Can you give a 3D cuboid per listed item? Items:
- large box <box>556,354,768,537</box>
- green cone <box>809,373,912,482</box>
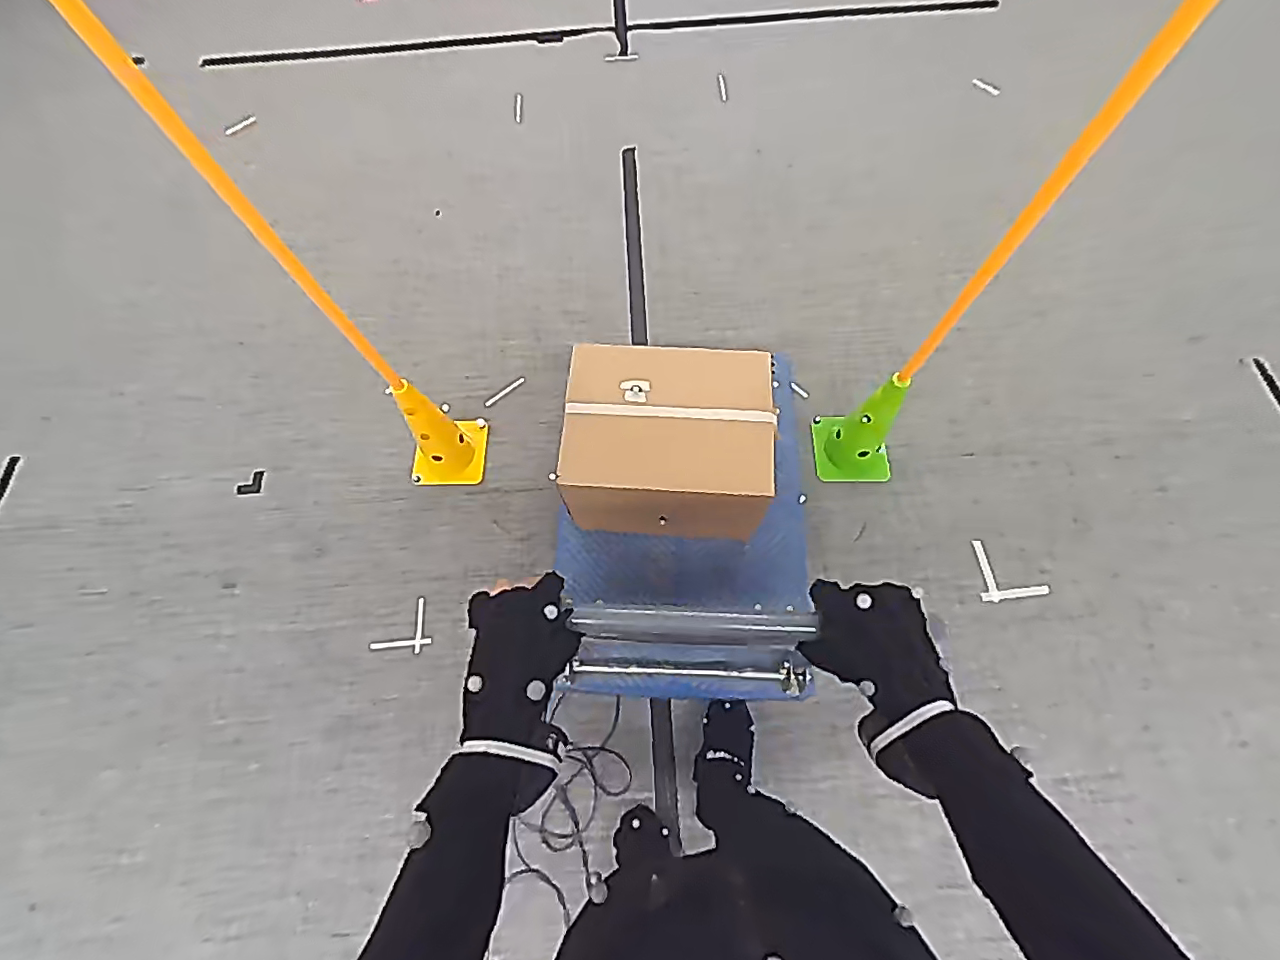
[{"bbox_3d":[0.055,-0.062,1.200,0.408,0.320,0.320,3,69,4],"label":"large box"},{"bbox_3d":[0.586,-0.152,1.374,0.202,0.368,0.200,0,68,0],"label":"green cone"}]
